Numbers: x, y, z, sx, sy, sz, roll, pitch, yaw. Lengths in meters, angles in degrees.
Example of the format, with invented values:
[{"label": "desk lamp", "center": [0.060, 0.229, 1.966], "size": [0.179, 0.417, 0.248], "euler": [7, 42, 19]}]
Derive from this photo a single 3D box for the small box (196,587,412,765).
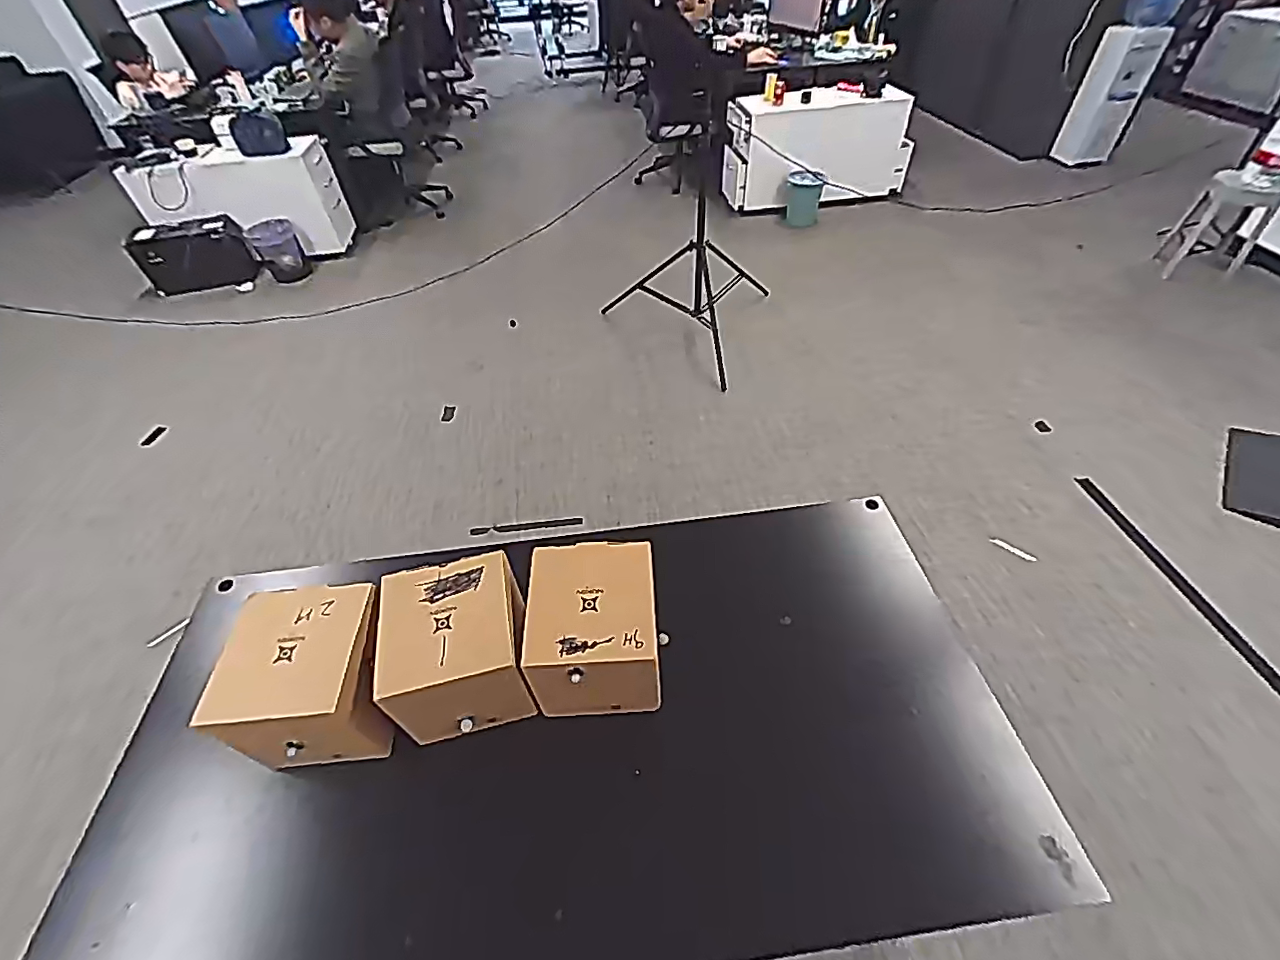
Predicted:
[{"label": "small box", "center": [-0.429, 0.269, 0.731], "size": [0.168, 0.176, 0.179], "euler": [-5, 46, -2]}]
